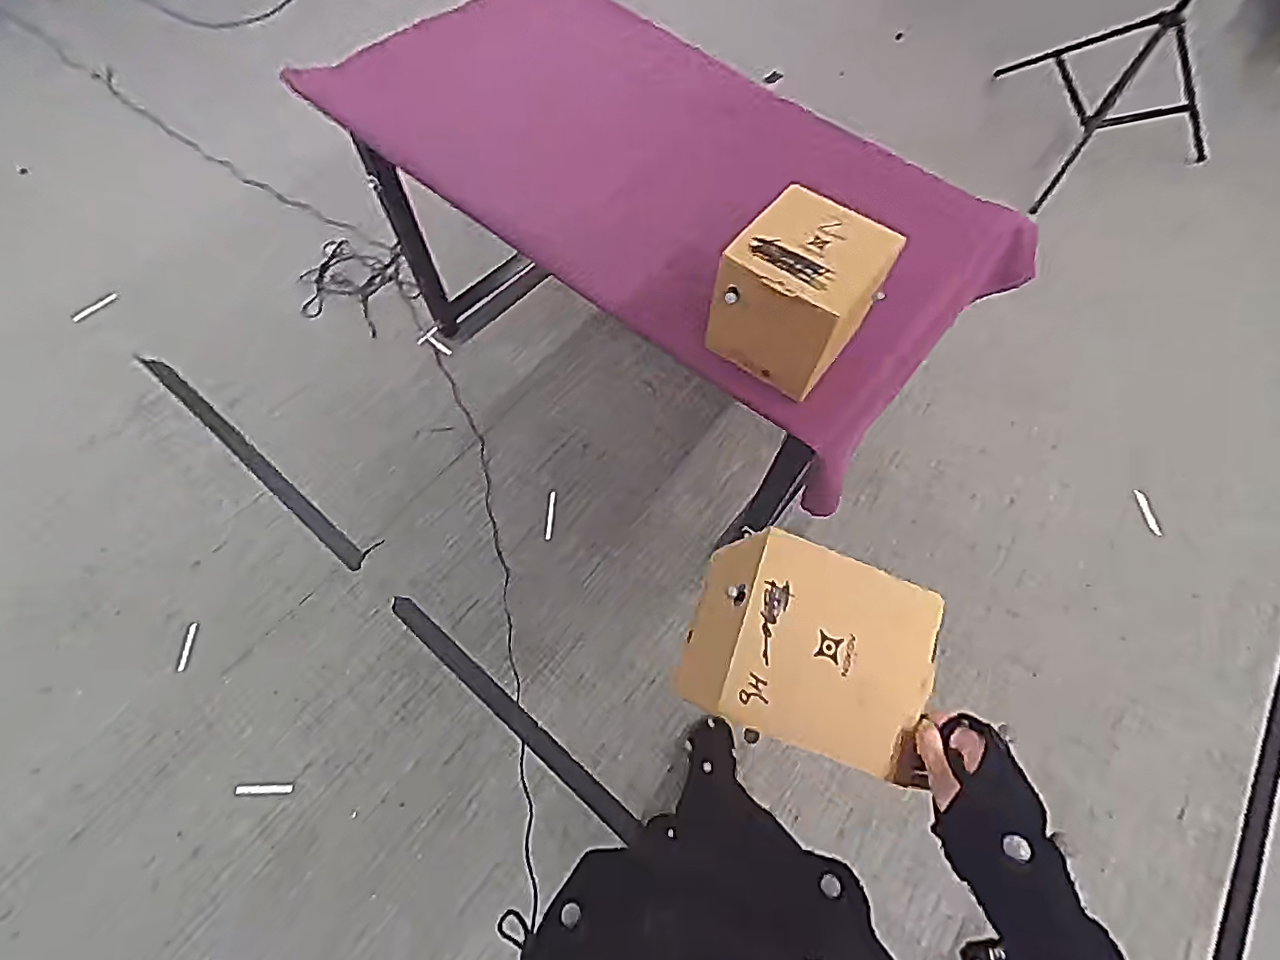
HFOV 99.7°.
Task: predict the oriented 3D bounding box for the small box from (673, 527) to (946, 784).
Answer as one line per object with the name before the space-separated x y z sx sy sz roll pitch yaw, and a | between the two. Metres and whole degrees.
small box | 0.153 0.162 0.529 0.179 0.176 0.168 22 73 -5
